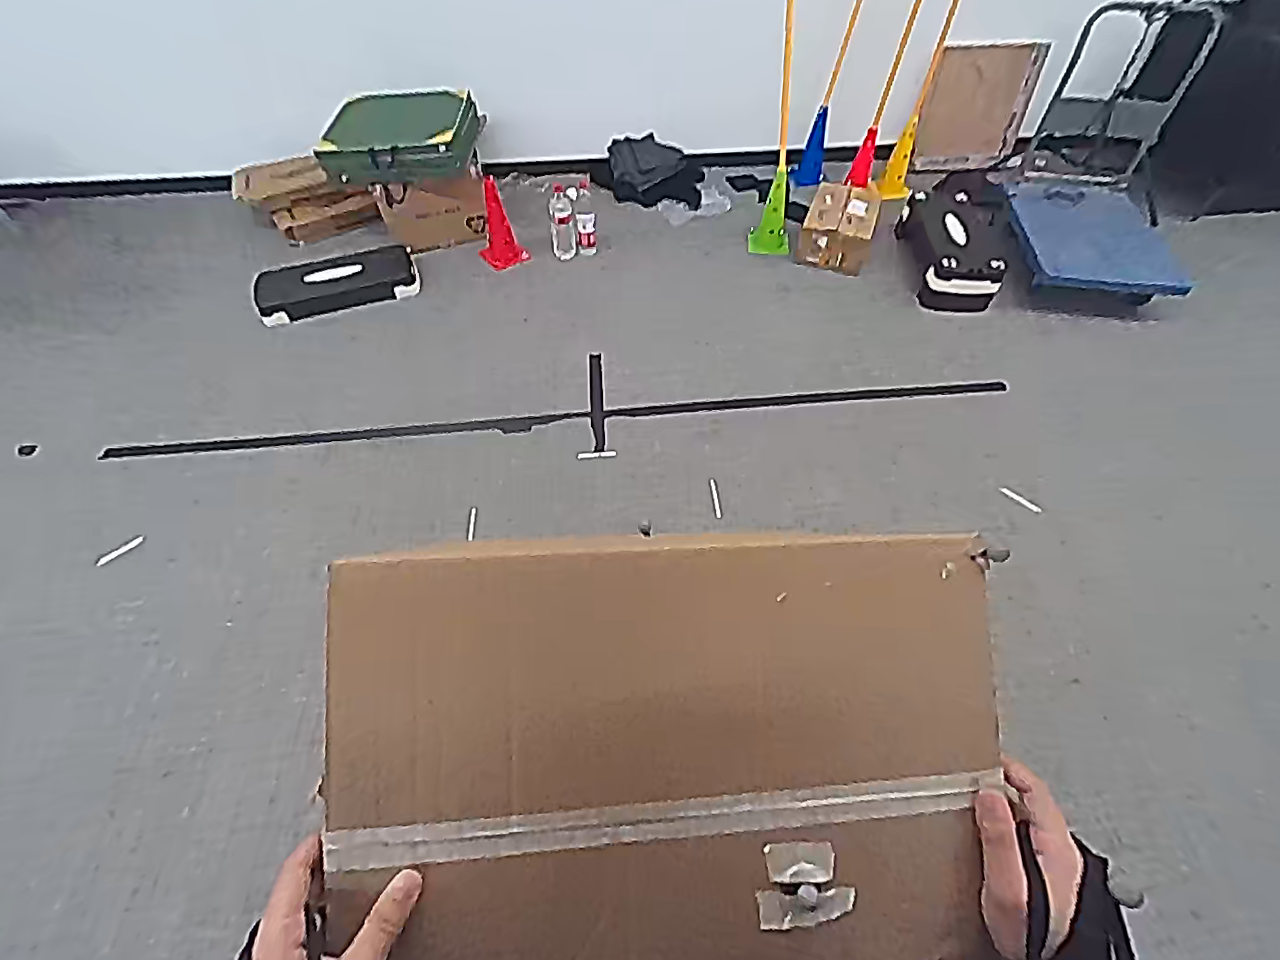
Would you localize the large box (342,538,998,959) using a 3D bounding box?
[{"bbox_3d":[0.009,0.217,0.479,0.408,0.320,0.320,-2,86,-7],"label":"large box"}]
